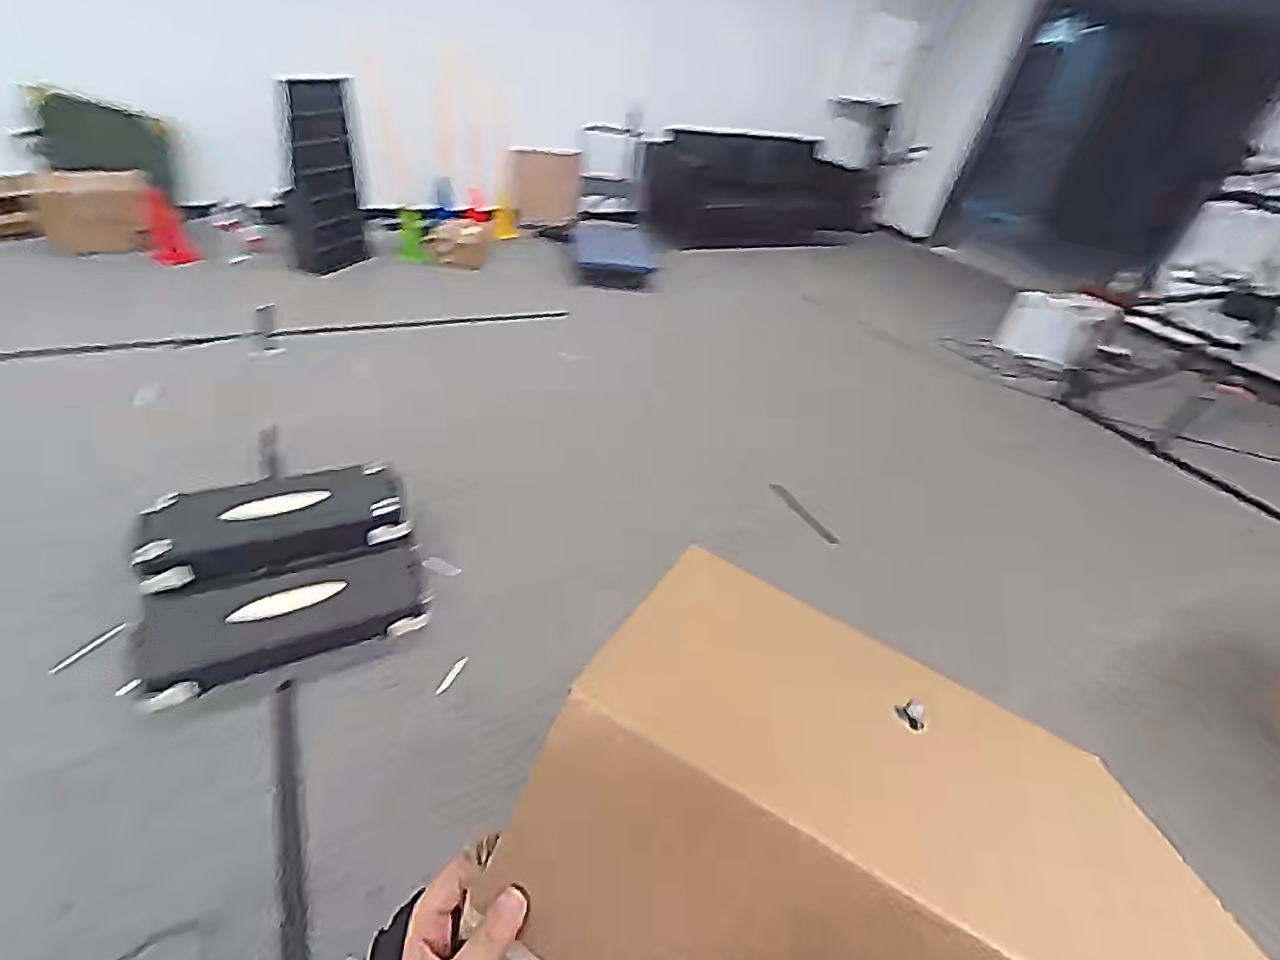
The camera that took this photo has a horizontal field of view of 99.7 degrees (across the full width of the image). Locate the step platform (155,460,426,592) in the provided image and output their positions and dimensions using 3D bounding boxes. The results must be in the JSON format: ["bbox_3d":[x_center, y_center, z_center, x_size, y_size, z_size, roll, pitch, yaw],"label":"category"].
[{"bbox_3d":[-1.034,0.121,1.664,0.684,0.204,0.286,-7,42,-23],"label":"step platform"}]
